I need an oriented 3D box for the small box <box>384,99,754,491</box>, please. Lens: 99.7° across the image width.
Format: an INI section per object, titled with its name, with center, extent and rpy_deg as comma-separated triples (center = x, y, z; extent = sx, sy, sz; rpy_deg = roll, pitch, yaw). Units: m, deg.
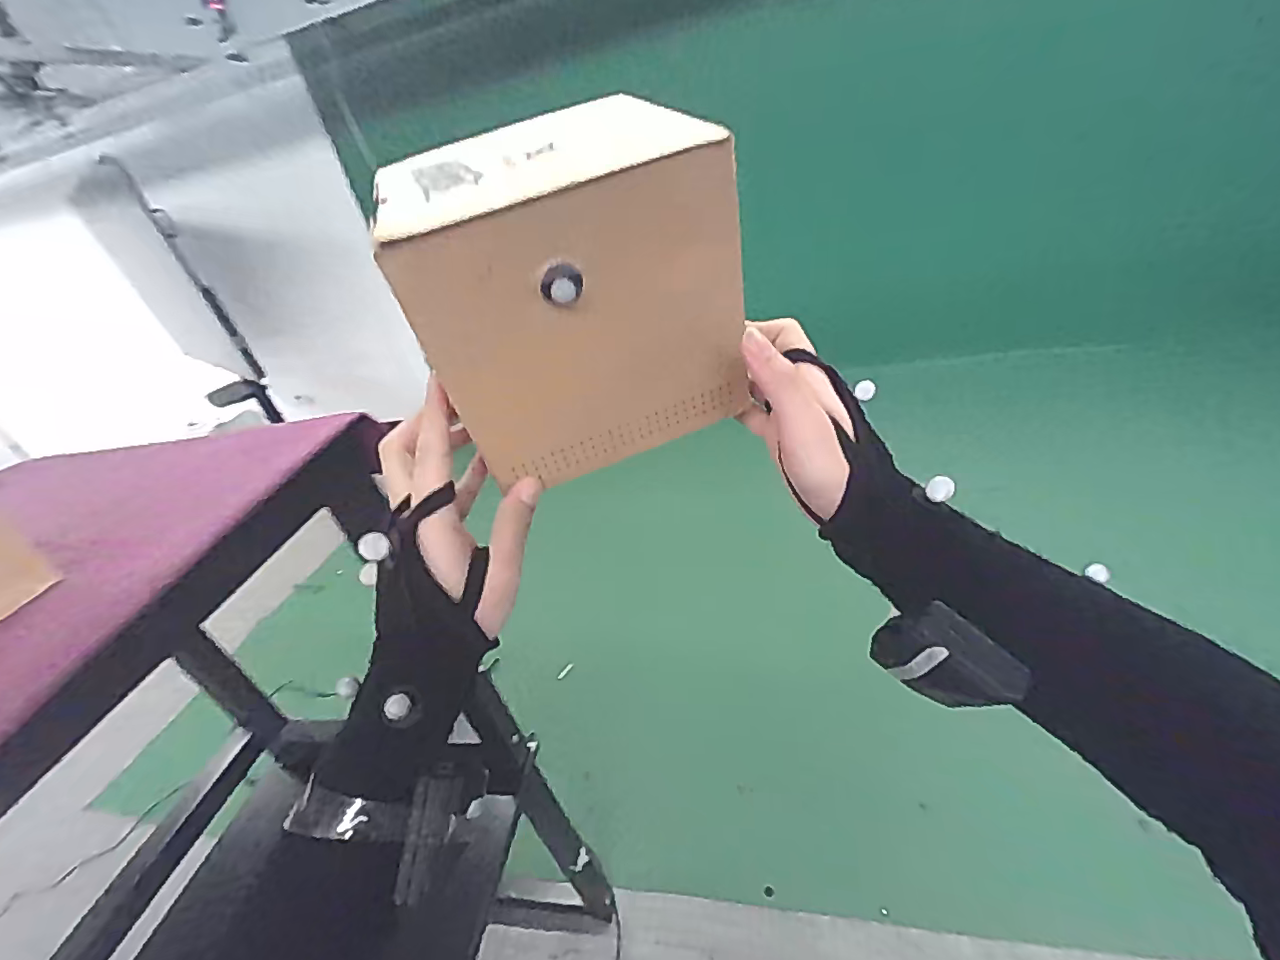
[small box]
center = -0.040, -0.120, 0.356
extent = 0.179, 0.176, 0.168
rpy_deg = -22, 44, -6
